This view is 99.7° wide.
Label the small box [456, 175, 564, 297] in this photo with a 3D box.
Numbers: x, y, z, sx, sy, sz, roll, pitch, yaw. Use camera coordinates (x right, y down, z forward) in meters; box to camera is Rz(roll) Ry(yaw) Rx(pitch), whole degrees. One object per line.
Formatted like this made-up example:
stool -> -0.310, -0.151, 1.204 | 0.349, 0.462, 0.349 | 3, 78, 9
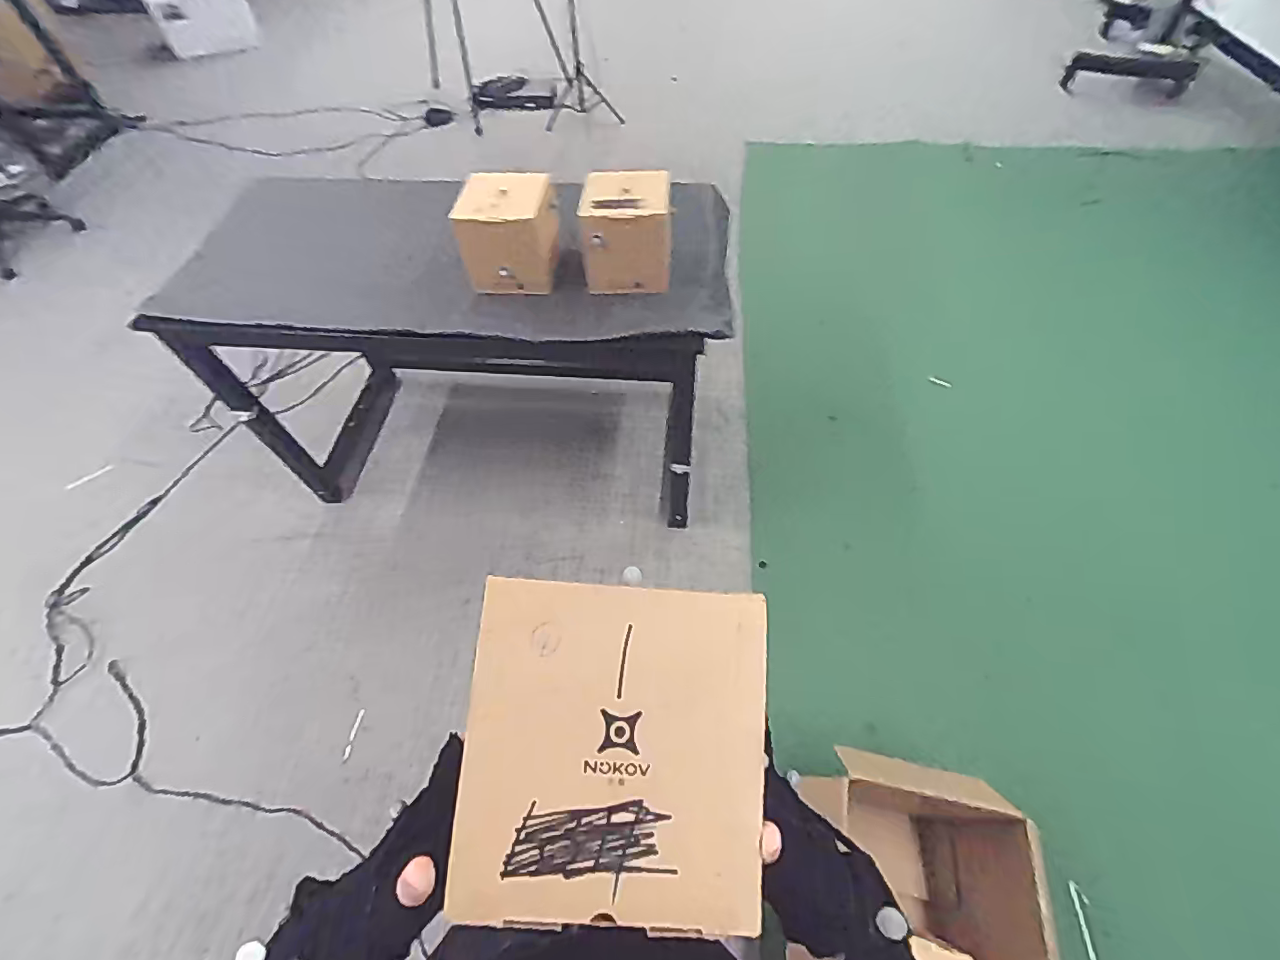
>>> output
small box -> -0.259, -0.509, 1.131 | 0.168, 0.176, 0.179 | 3, 56, 5
